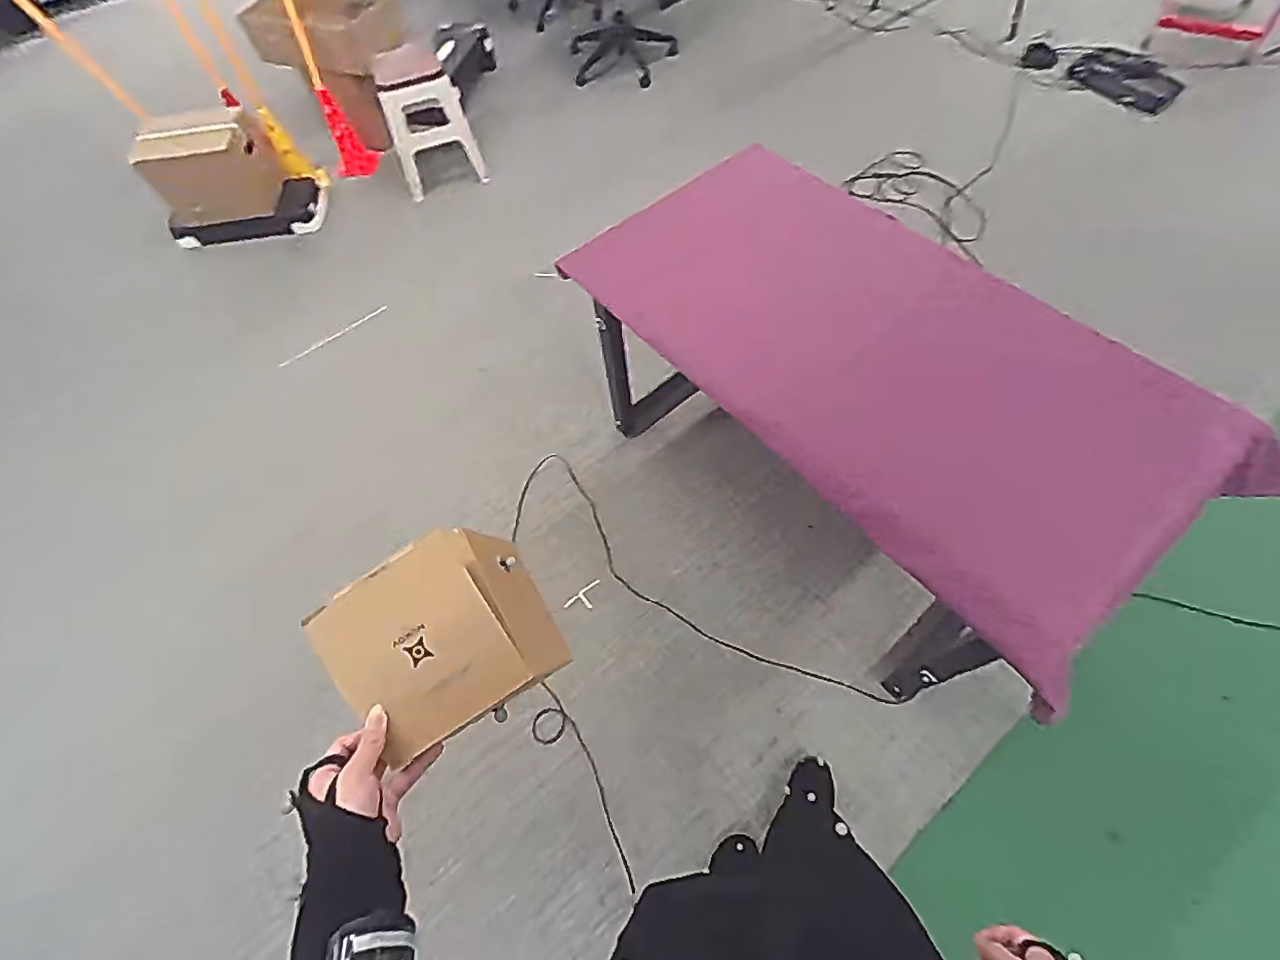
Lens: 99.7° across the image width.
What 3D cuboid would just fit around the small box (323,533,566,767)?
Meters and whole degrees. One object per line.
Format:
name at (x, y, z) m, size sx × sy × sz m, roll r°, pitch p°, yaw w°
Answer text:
small box at (-0.209, 0.184, 0.619) m, size 0.168 × 0.176 × 0.179 m, roll -33°, pitch 76°, yaw 0°
